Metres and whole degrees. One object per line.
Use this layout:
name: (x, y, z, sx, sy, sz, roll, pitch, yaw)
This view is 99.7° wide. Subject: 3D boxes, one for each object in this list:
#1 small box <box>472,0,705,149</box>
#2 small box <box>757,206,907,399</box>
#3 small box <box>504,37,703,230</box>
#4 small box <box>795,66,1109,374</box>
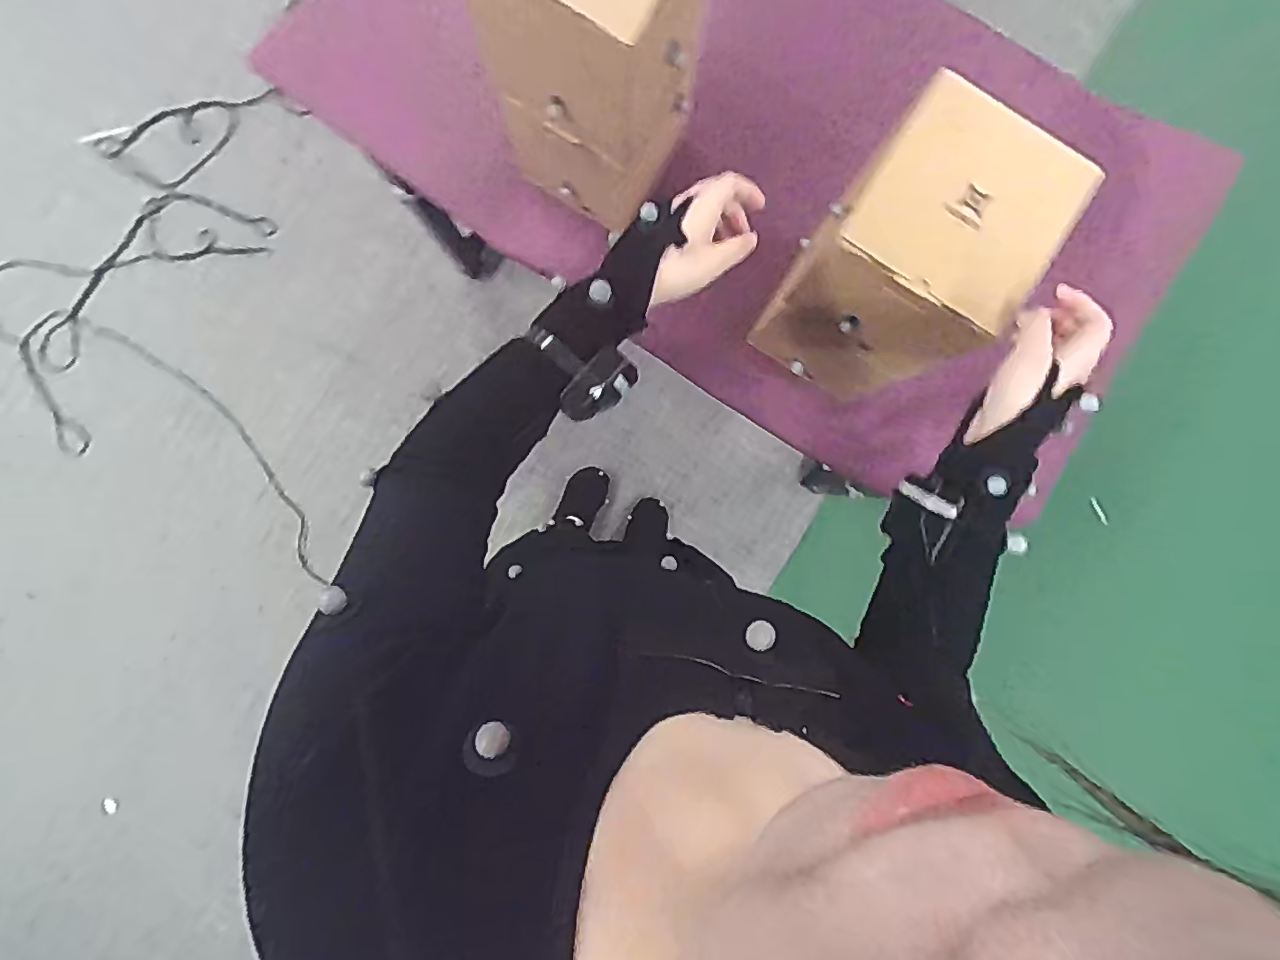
small box: (-0.042, -0.465, 0.520, 0.179, 0.176, 0.168, 31, 88, -2)
small box: (0.272, -0.226, 0.691, 0.168, 0.176, 0.179, 33, 90, 0)
small box: (-0.044, -0.464, 0.684, 0.168, 0.176, 0.179, 31, 88, 0)
small box: (0.278, -0.230, 0.528, 0.168, 0.176, 0.179, 32, 90, -1)
